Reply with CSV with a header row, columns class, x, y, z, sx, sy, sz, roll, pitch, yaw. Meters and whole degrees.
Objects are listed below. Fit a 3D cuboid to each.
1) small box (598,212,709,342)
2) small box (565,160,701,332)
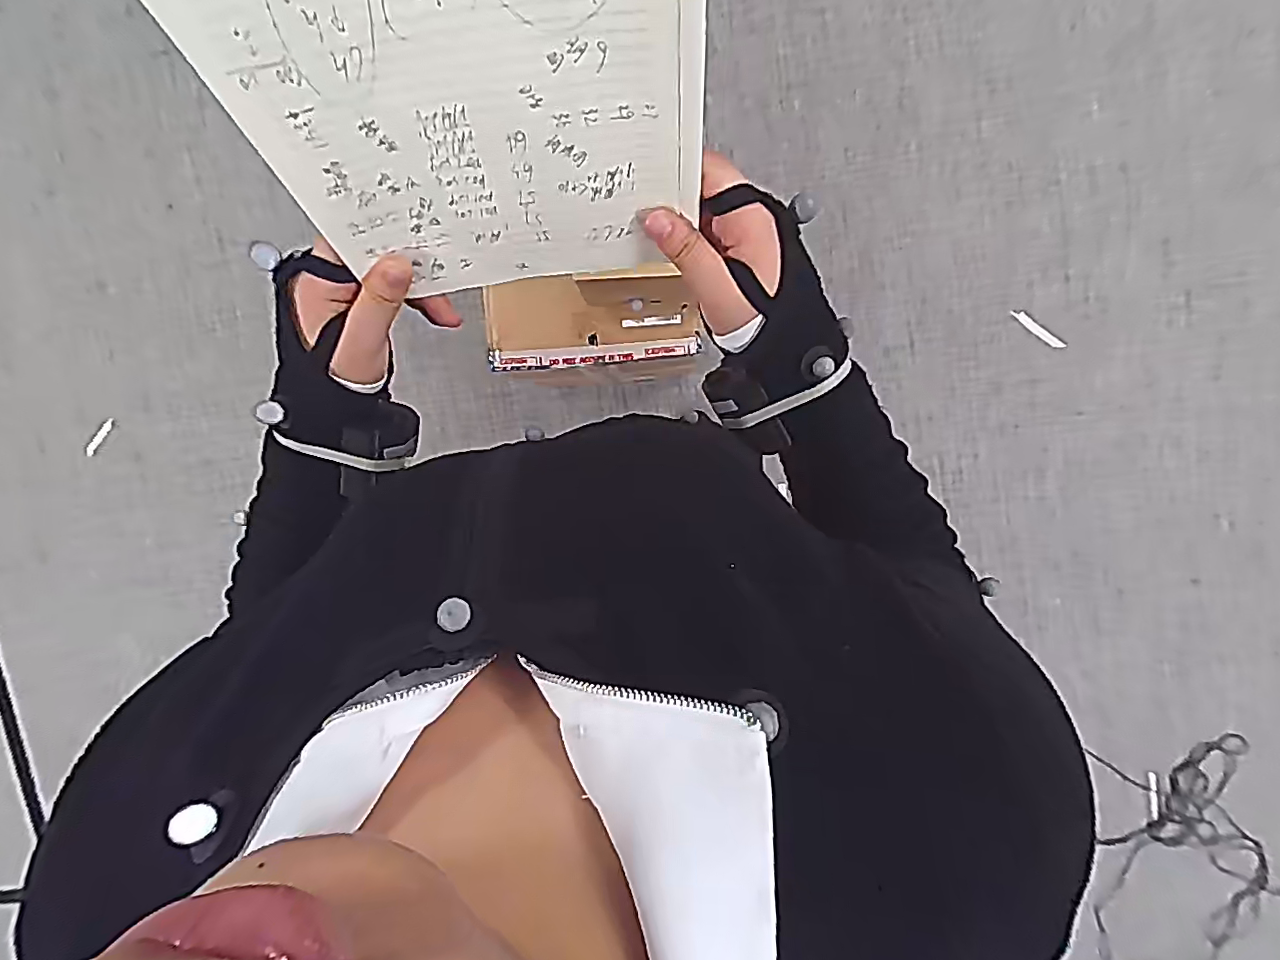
class,x,y,z,sx,sy,sz,roll,pitch,yaw
small box,0.012,-0.329,0.898,0.179,0.176,0.168,-6,97,2
small box,-0.009,-0.305,0.735,0.168,0.176,0.179,-2,98,0
